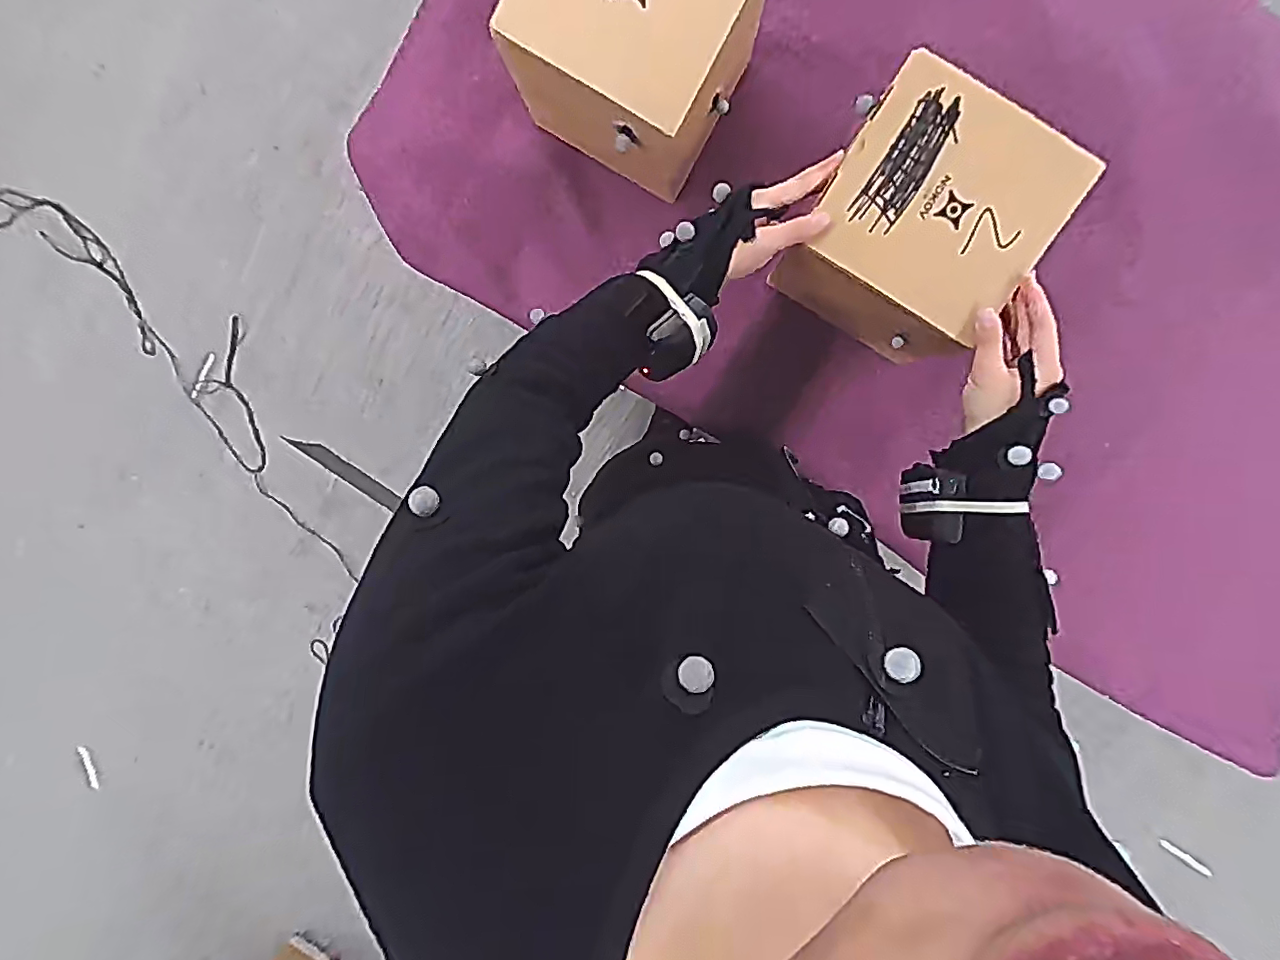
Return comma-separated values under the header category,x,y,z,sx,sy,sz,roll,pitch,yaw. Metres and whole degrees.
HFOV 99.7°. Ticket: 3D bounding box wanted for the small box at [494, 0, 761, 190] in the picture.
category,x,y,z,sx,sy,sz,roll,pitch,yaw
small box,0.000,-0.405,0.505,0.179,0.176,0.168,30,99,-2
